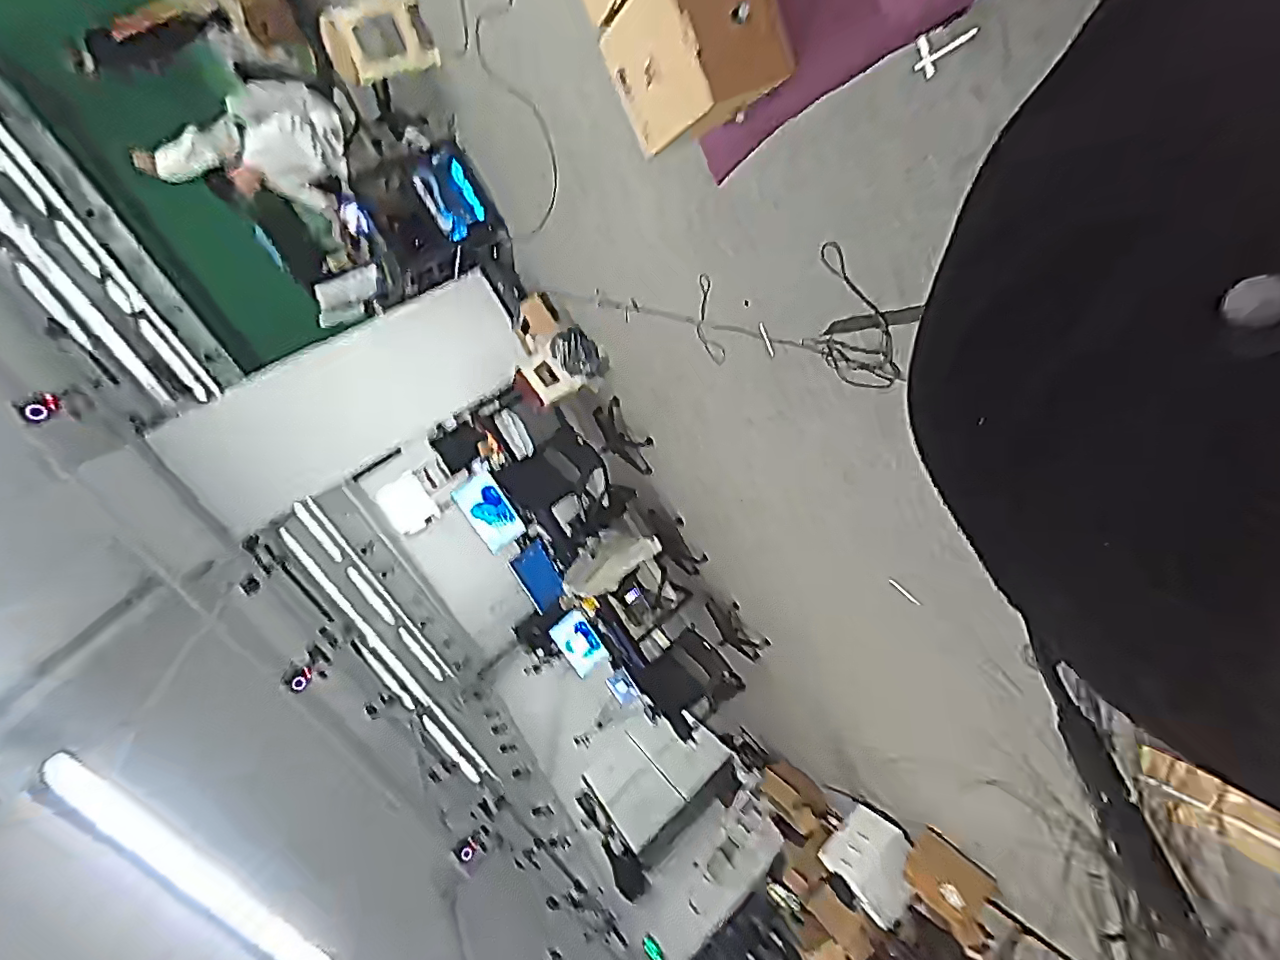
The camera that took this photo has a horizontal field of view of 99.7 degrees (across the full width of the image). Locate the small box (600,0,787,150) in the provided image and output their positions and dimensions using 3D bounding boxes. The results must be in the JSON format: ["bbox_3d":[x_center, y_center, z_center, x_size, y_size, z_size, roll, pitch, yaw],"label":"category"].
[{"bbox_3d":[0.081,-0.607,0.757,0.179,0.176,0.168,13,135,59],"label":"small box"}]
